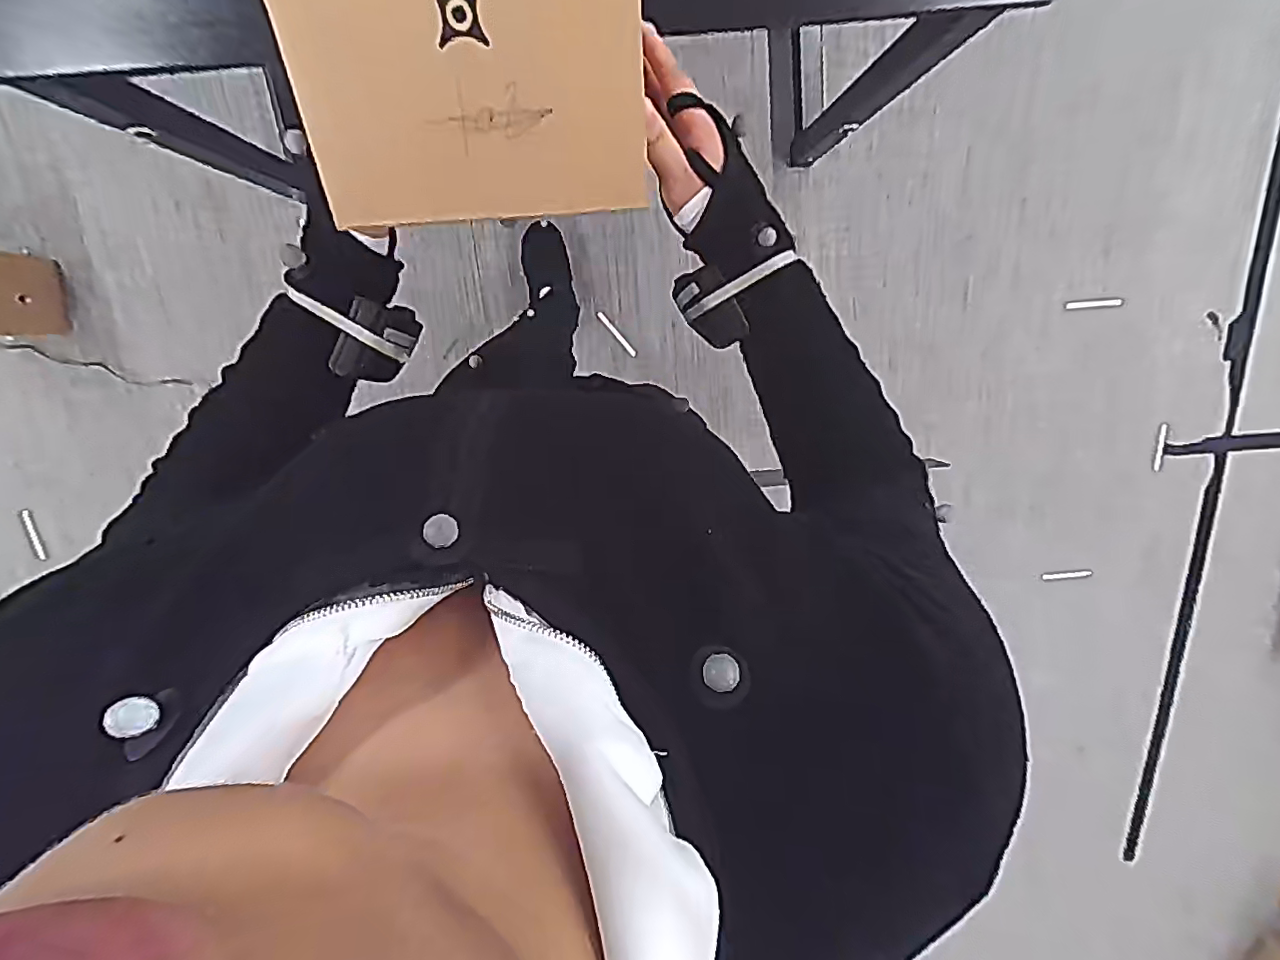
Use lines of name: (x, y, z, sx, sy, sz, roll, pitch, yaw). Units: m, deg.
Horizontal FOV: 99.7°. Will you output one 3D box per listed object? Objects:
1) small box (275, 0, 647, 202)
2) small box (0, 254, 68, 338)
small box: (-0.087, -0.265, 0.307, 0.168, 0.176, 0.179, -4, 122, -2)
small box: (-1.439, -0.411, 1.194, 0.168, 0.176, 0.179, 3, 106, -4)
